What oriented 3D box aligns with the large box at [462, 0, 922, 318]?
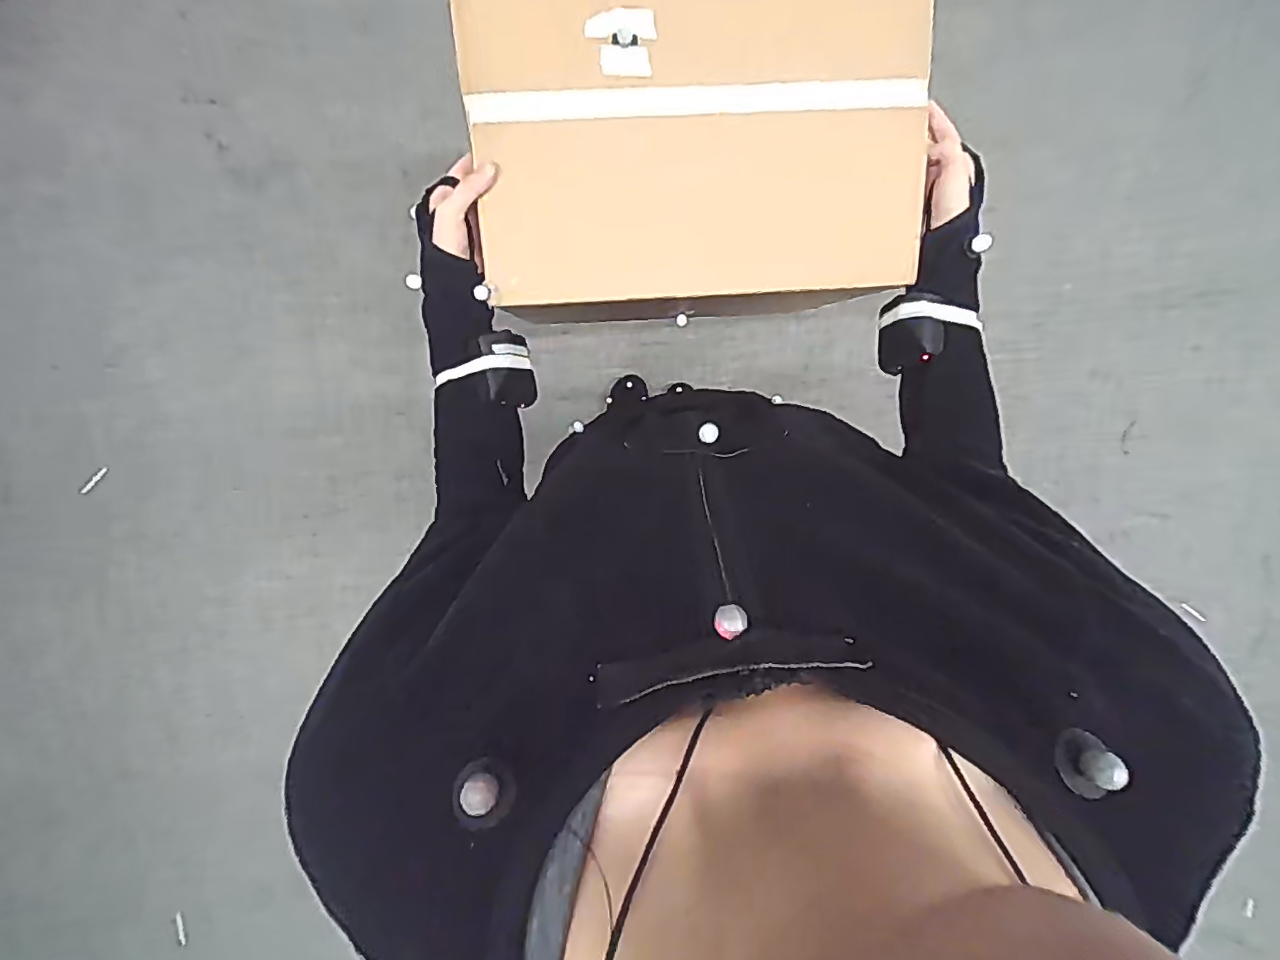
[{"bbox_3d":[0.046,-0.366,0.626,0.408,0.320,0.320,-4,103,-3],"label":"large box"}]
